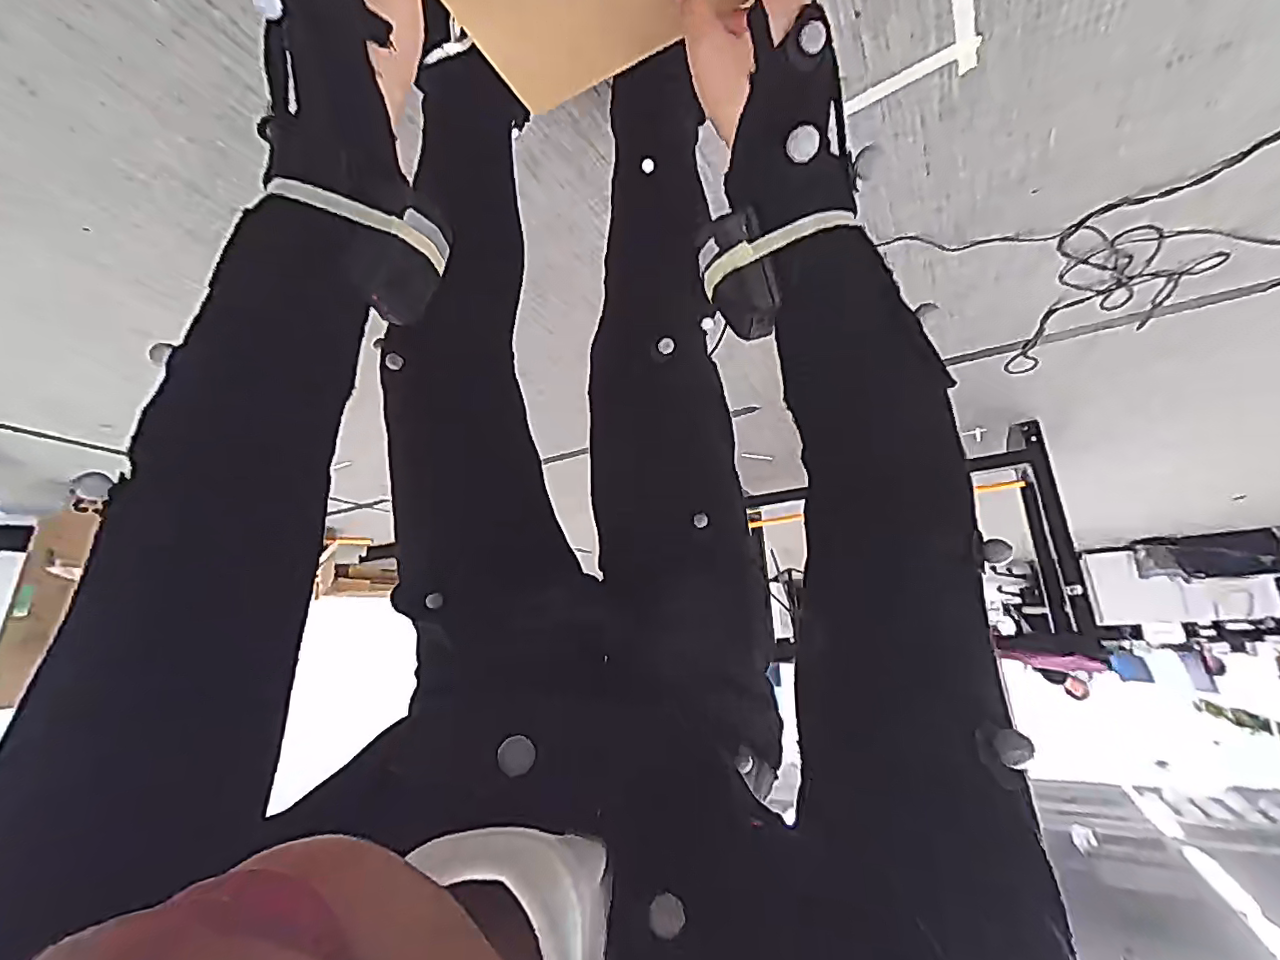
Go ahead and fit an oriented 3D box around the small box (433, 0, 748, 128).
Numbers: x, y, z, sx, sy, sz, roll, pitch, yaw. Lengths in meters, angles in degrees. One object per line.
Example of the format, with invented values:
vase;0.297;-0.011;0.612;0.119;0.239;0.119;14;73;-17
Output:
small box;-0.043;-0.364;0.309;0.168;0.176;0.179;-9;162;25
